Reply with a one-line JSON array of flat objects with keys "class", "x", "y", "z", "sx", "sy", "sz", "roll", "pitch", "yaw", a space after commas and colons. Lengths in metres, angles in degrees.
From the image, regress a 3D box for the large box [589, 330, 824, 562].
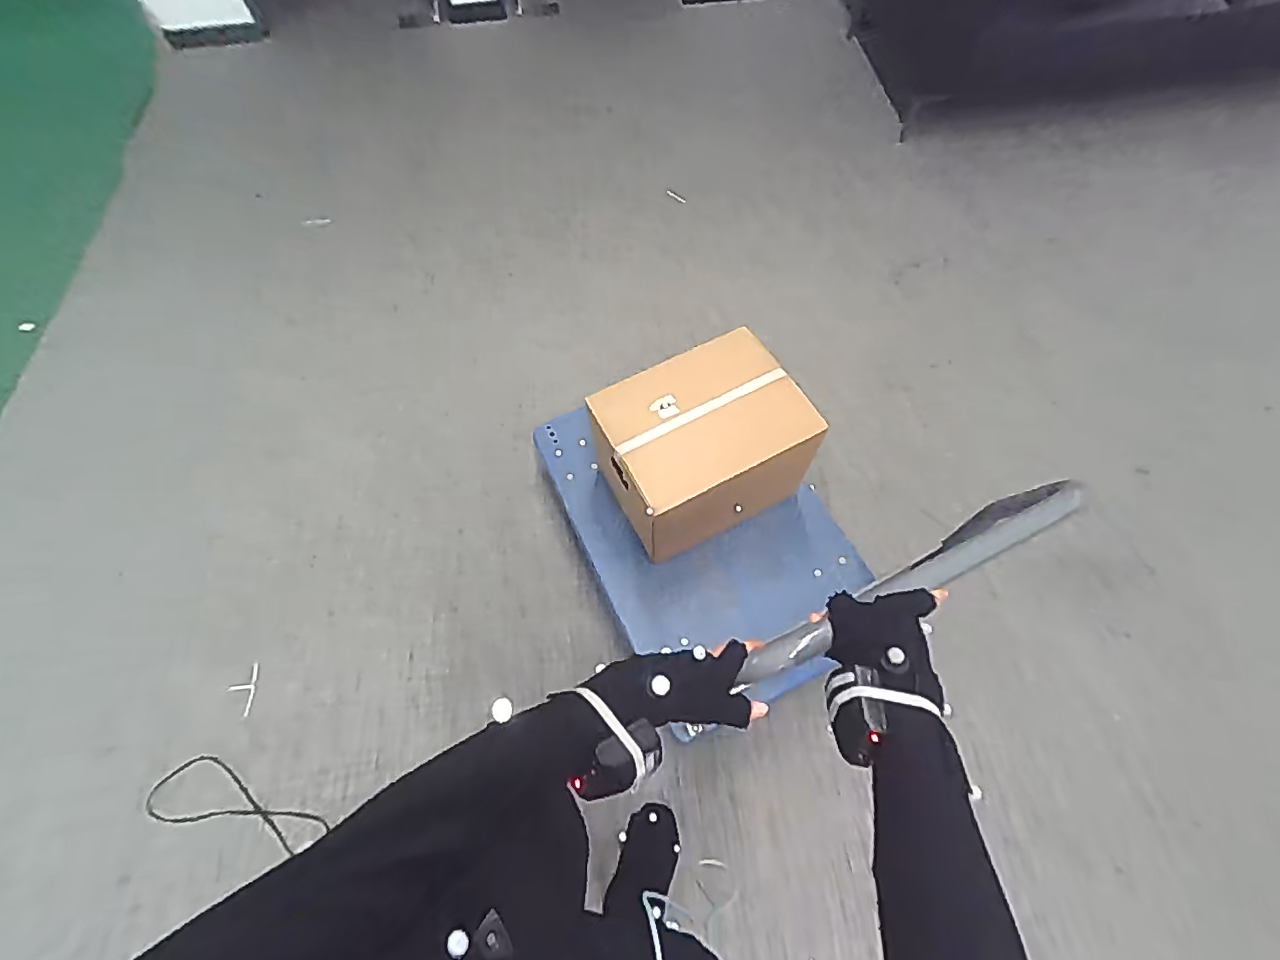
[{"class": "large box", "x": 0.141, "y": -0.068, "z": 1.258, "sx": 0.408, "sy": 0.320, "sz": 0.320, "roll": -27, "pitch": 65, "yaw": -10}]
